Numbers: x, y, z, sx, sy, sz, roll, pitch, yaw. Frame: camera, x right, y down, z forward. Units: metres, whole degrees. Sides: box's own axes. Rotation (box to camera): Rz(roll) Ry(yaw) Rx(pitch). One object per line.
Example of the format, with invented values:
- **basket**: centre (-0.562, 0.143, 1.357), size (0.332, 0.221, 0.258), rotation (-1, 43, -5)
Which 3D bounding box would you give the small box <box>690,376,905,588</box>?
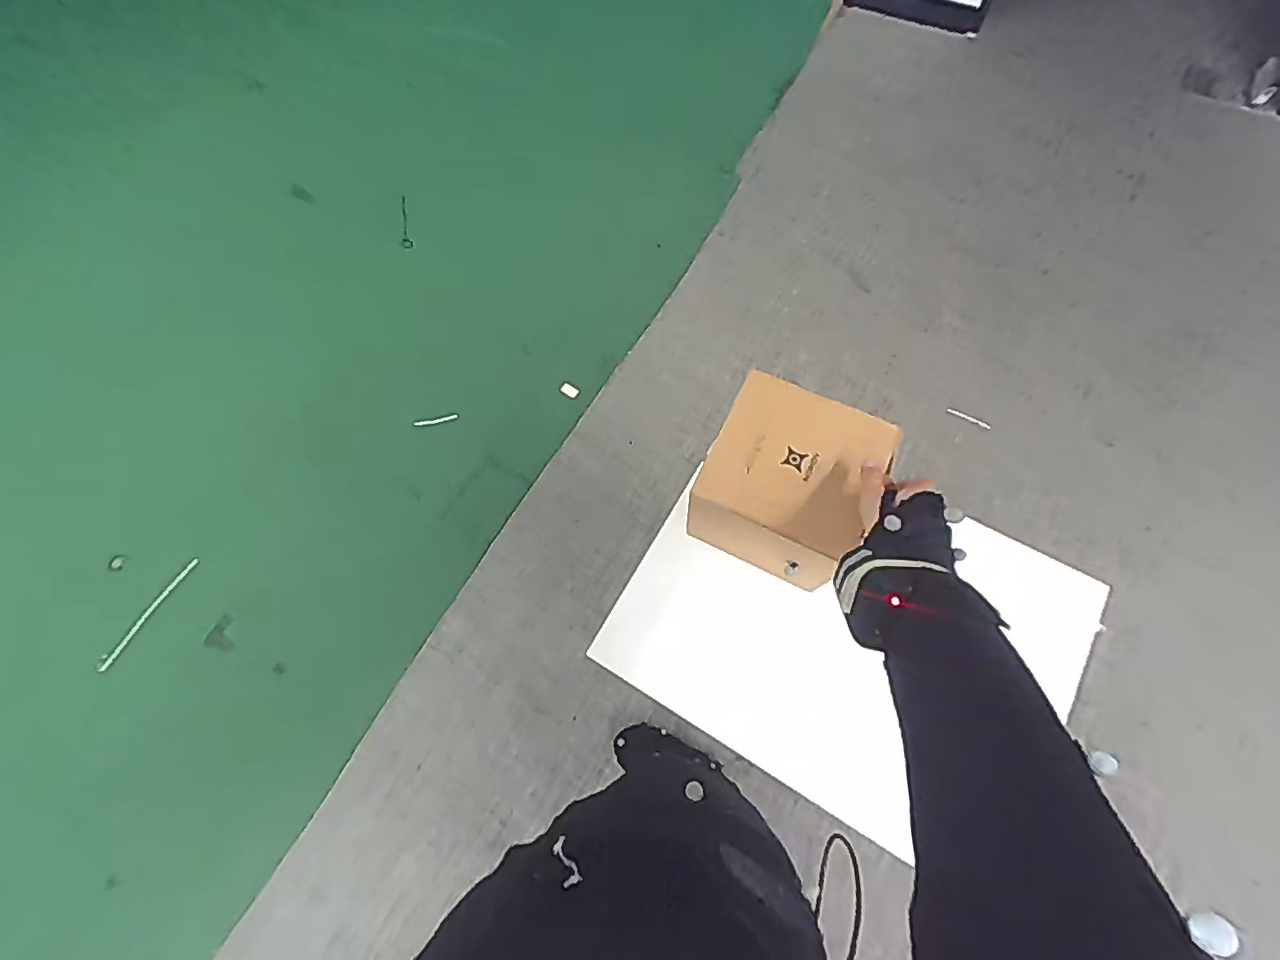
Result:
- **small box**: centre (0.170, 0.014, 0.634), size (0.179, 0.176, 0.168), rotation (24, 72, 12)
